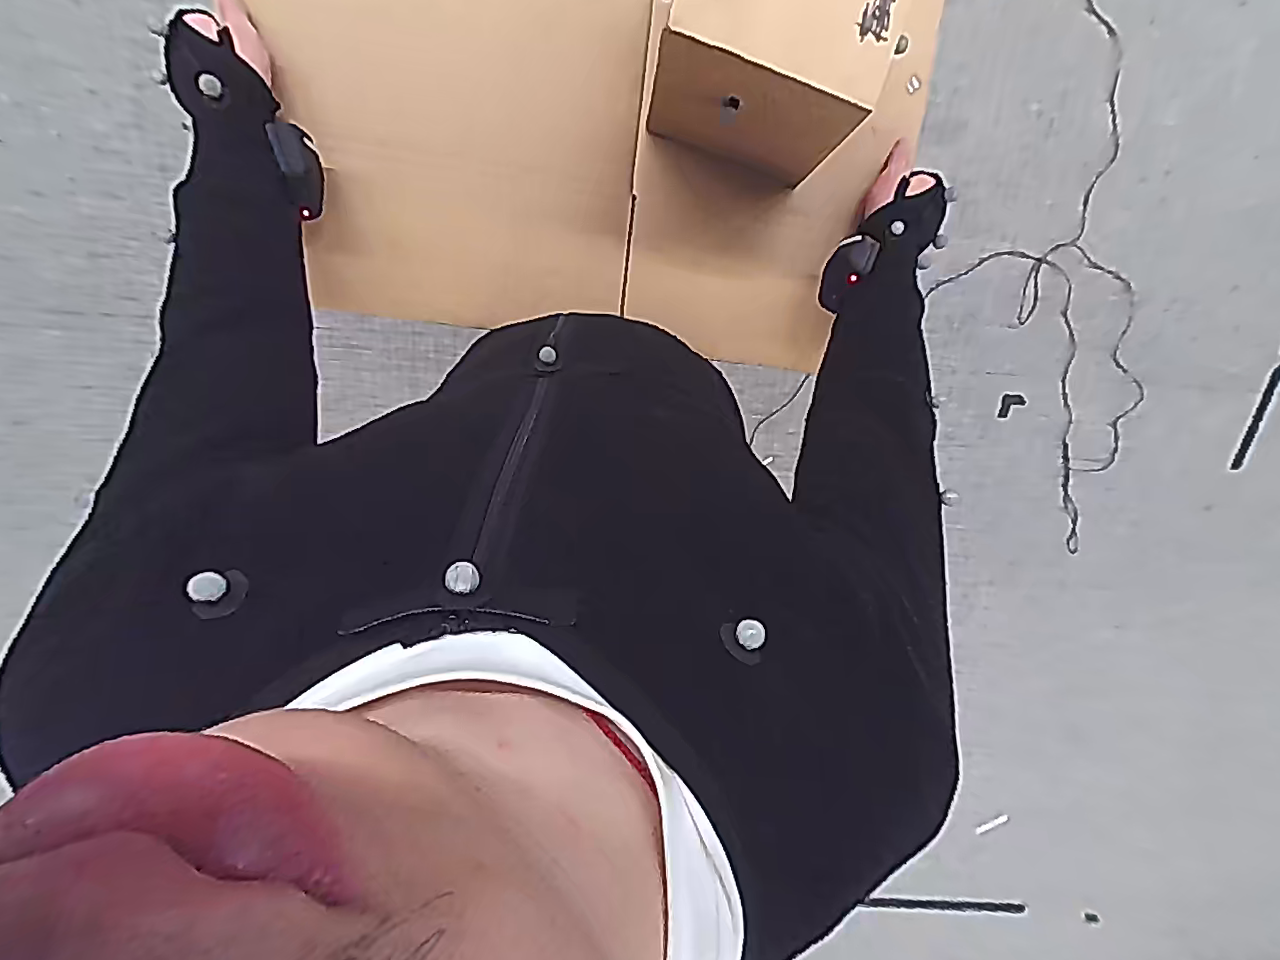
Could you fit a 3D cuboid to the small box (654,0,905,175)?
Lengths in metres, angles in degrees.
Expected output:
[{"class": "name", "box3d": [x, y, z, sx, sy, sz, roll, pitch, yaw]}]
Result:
[{"class": "small box", "box3d": [0.118, -0.407, 0.486, 0.179, 0.176, 0.168, 16, 99, -6]}]
